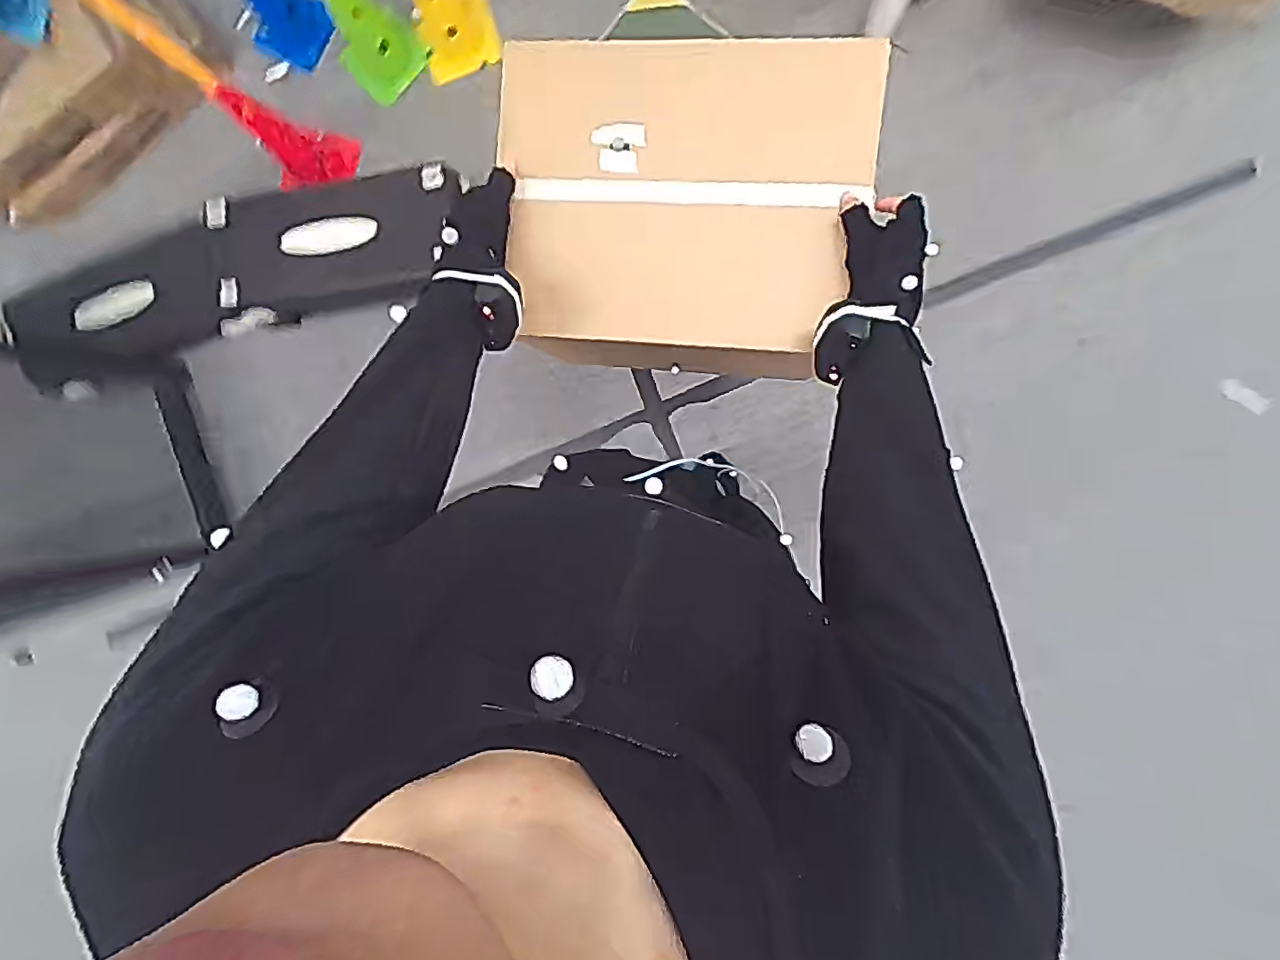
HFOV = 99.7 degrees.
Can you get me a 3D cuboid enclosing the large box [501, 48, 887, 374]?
[{"bbox_3d":[0.068,-0.322,0.738,0.408,0.320,0.320,7,96,8],"label":"large box"}]
